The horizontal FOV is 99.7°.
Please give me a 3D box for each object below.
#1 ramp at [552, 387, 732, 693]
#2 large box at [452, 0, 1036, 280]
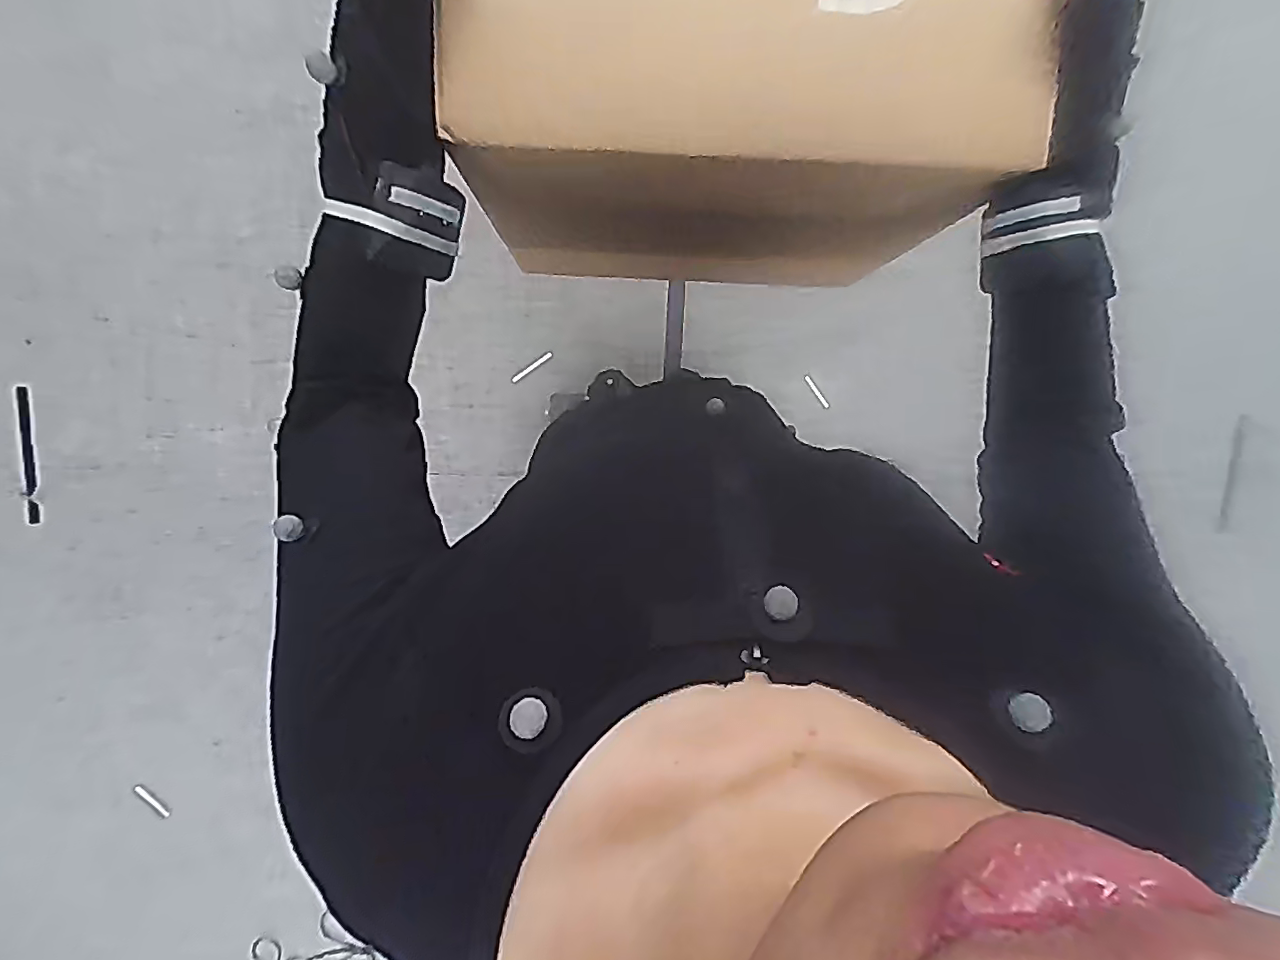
[{"bbox_3d":[-0.006,0.225,1.615,0.509,0.206,0.991,-1,99,-4],"label":"ramp"},{"bbox_3d":[0.065,-0.387,0.506,0.408,0.320,0.320,1,96,-3],"label":"large box"}]
